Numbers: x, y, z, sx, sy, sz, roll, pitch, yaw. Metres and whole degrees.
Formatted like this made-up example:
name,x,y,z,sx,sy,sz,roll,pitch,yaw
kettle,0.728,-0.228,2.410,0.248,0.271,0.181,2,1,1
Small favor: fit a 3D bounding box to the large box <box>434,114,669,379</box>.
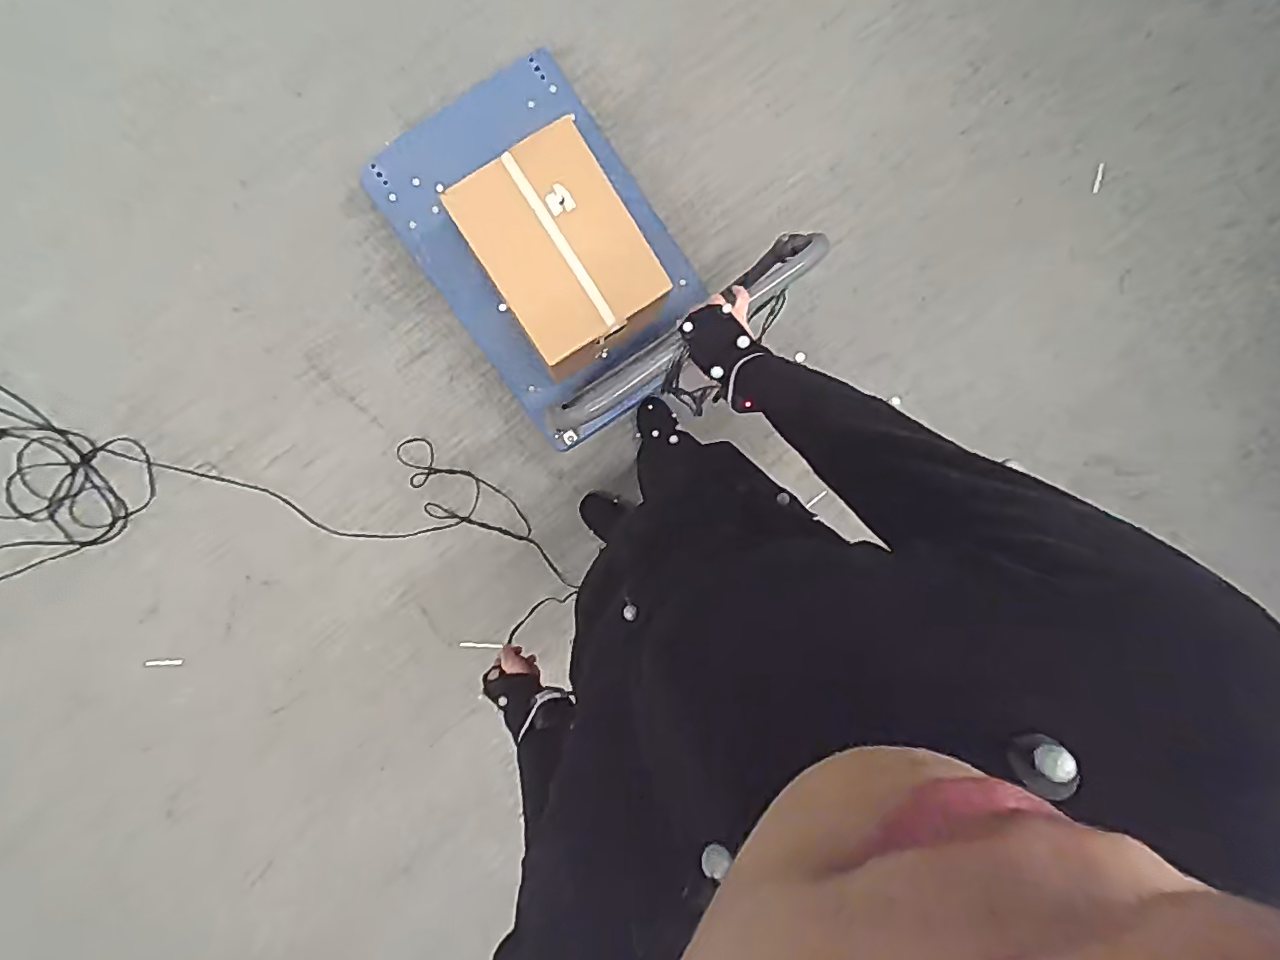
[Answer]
name,x,y,z,sx,sy,sz,roll,pitch,yaw
large box,-0.183,-0.493,1.235,0.320,0.320,0.408,-33,96,-4
